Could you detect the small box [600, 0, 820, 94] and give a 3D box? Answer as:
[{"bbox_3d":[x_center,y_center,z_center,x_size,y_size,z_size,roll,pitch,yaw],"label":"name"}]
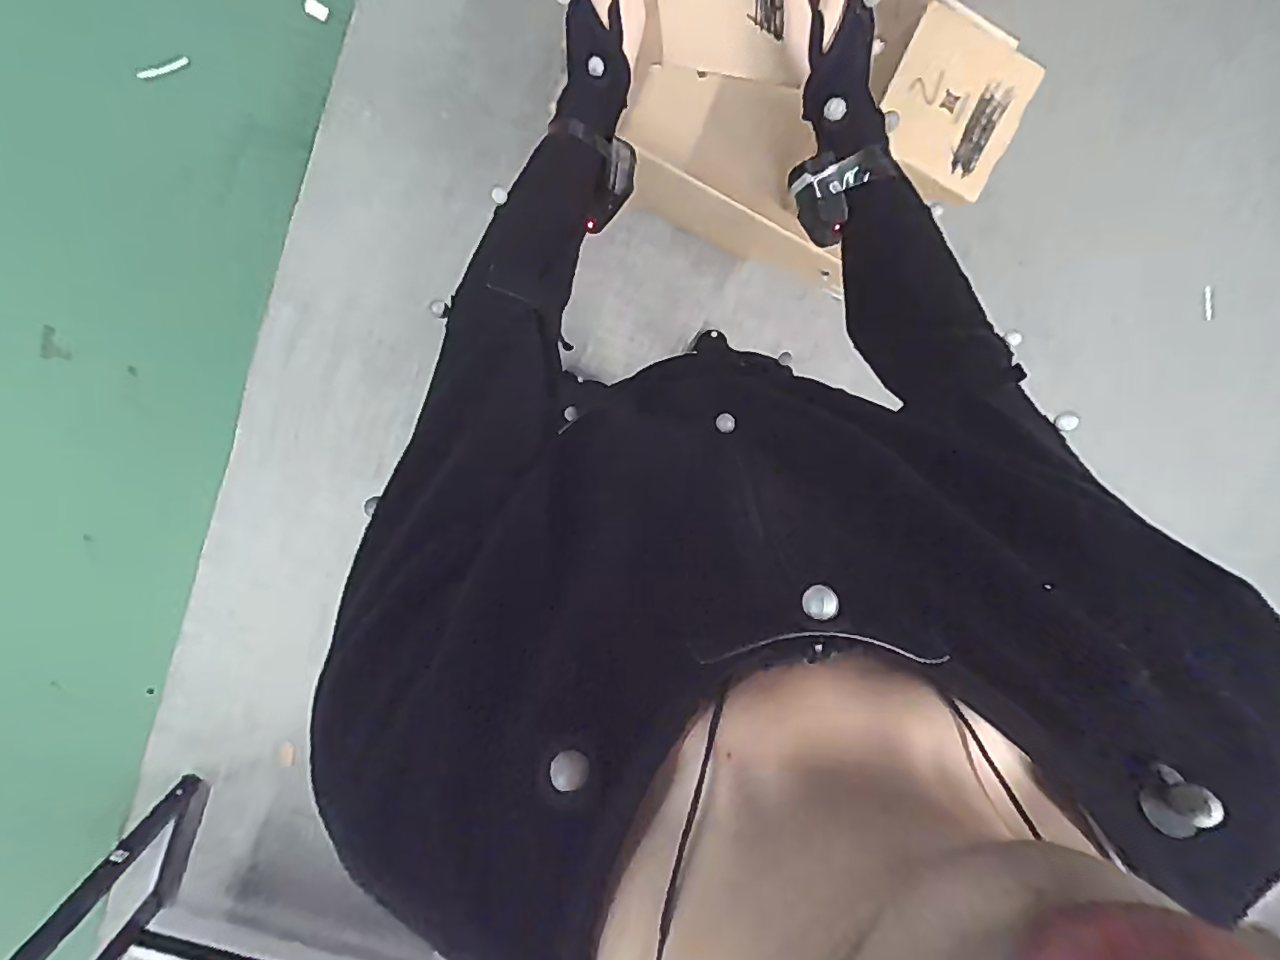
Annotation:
[{"bbox_3d":[0.074,-0.458,0.464,0.179,0.176,0.168,13,135,6],"label":"small box"}]
